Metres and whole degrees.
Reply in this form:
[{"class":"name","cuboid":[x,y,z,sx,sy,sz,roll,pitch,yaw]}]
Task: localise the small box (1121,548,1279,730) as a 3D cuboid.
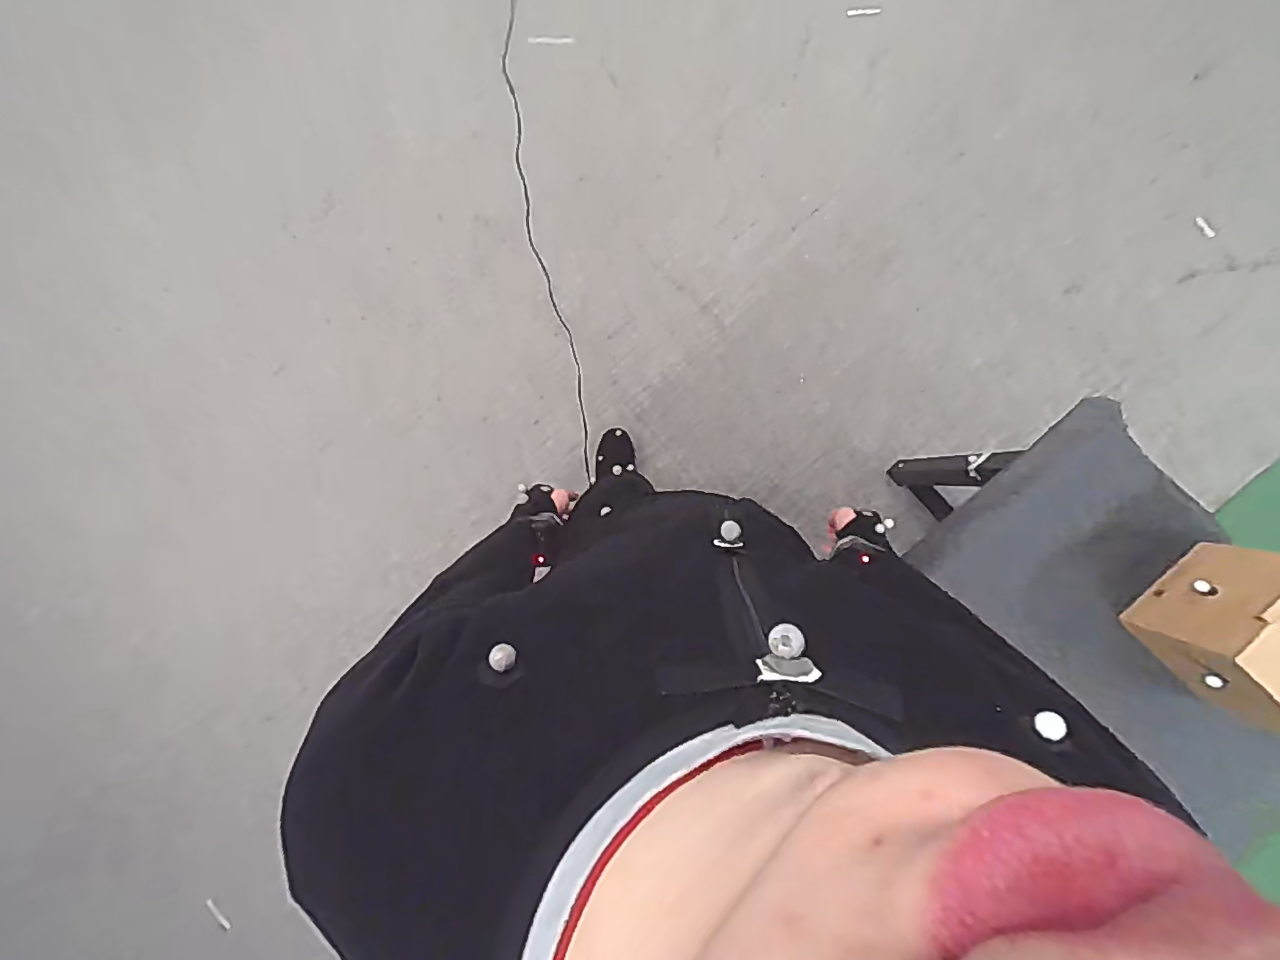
[{"class":"small box","cuboid":[0.807,0.205,0.708,0.179,0.176,0.168,45,94,2]}]
